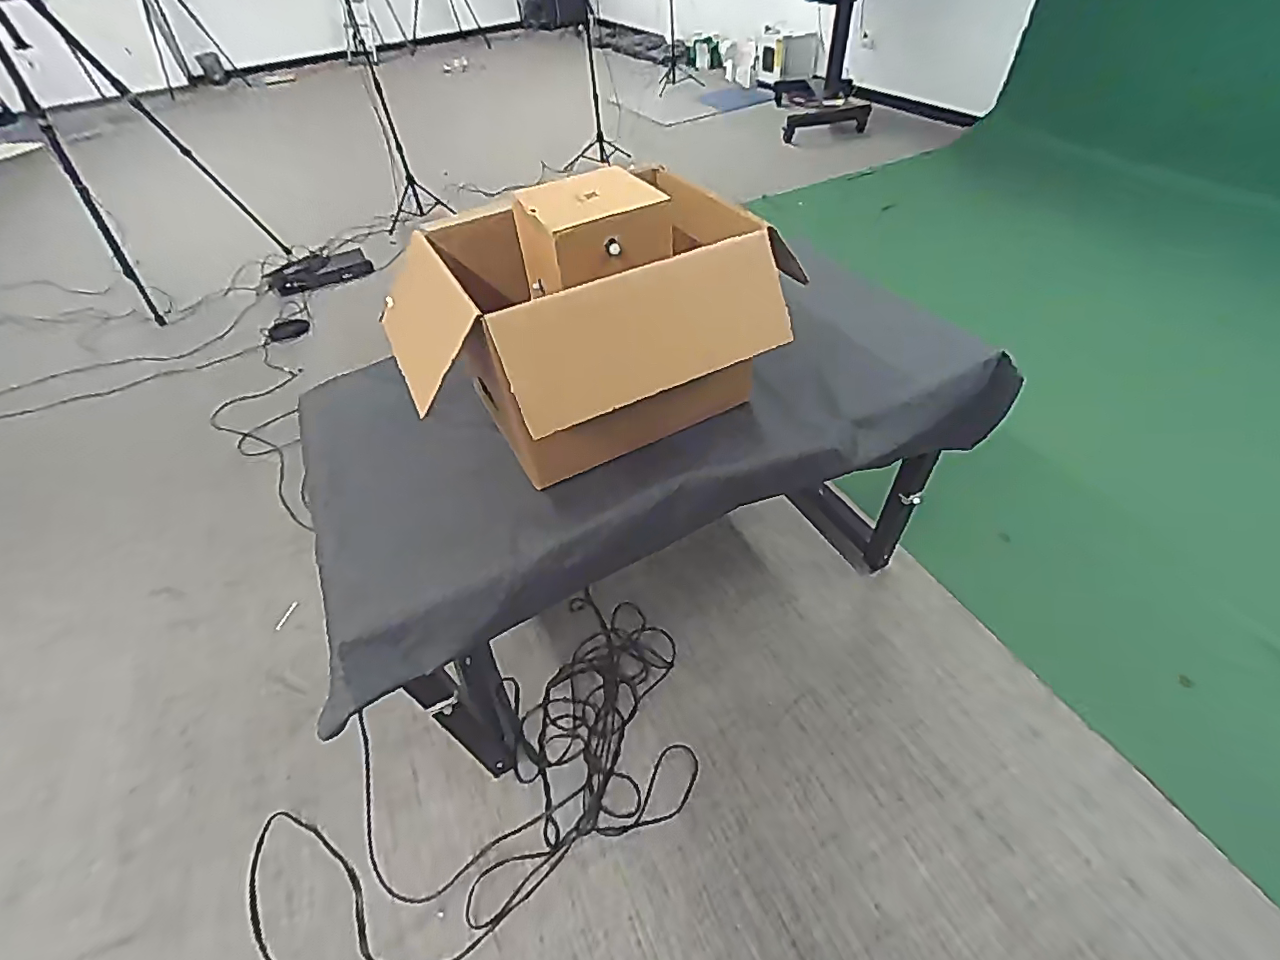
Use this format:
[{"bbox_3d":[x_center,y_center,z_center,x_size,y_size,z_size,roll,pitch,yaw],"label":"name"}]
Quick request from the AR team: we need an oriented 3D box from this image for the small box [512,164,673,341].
[{"bbox_3d":[-0.065,-0.334,0.795,0.179,0.176,0.168,-24,50,-16],"label":"small box"}]
